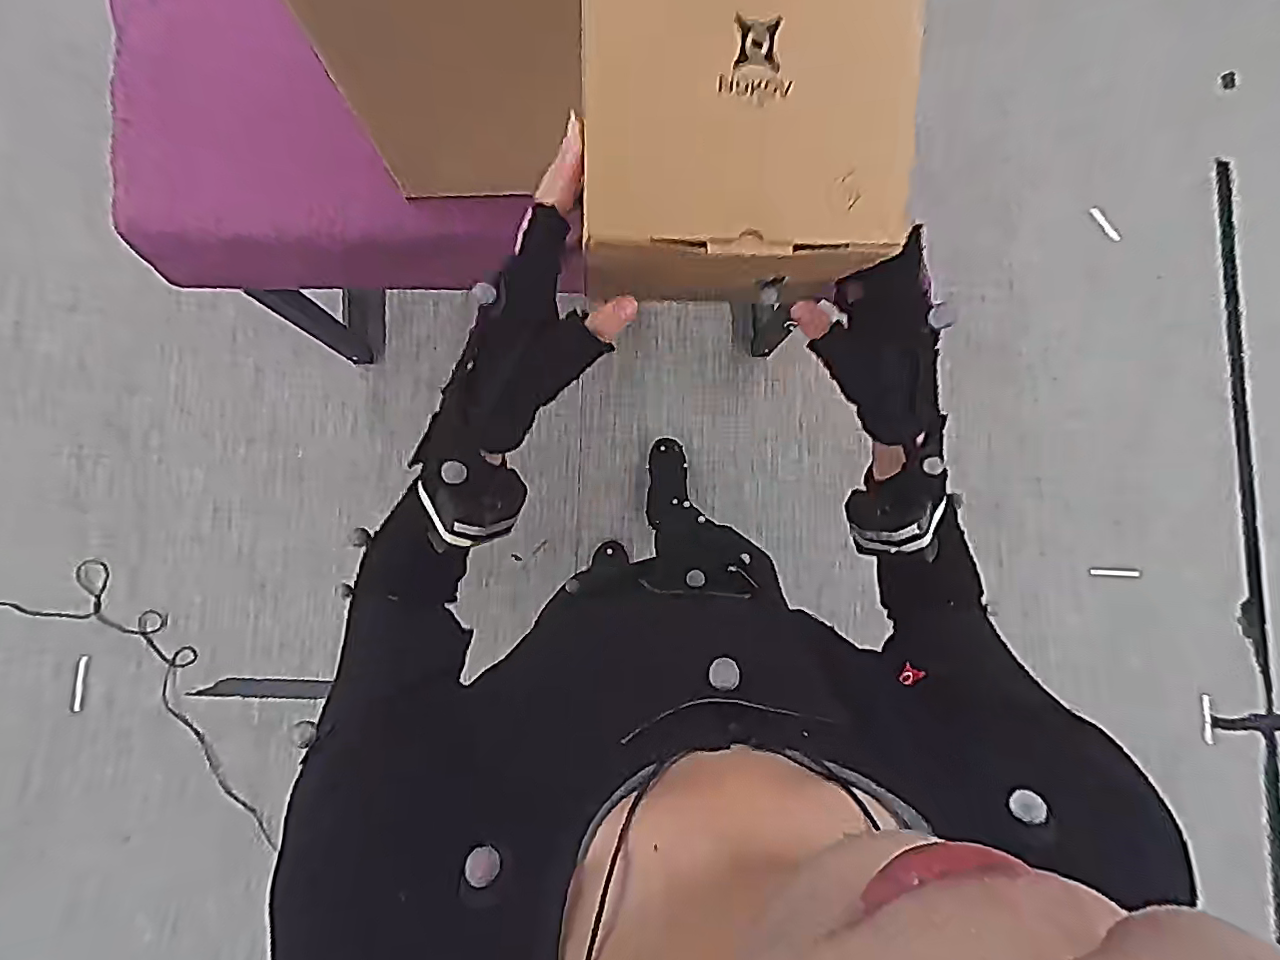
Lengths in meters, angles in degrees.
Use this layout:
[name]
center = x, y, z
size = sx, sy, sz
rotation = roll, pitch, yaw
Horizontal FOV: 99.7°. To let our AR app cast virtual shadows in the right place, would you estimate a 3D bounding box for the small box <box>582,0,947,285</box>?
[small box]
center = 0.050, -0.219, 0.319
size = 0.168, 0.176, 0.179
rotation = -1, 99, -6
